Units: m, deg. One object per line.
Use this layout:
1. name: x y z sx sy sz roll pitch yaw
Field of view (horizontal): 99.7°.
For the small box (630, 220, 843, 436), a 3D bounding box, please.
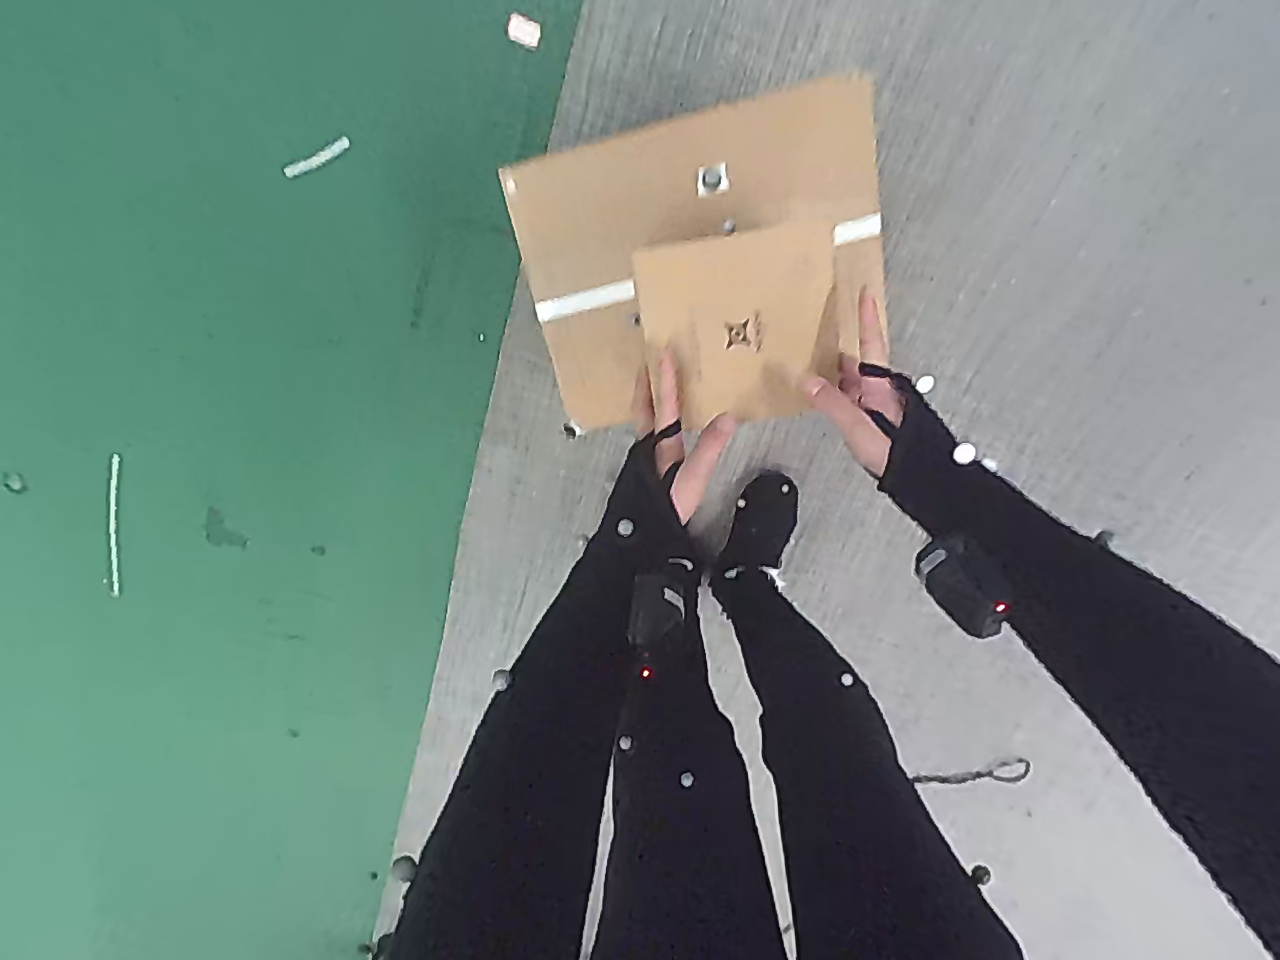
1. small box: 0.088 -0.156 0.549 0.179 0.176 0.168 -9 109 2
